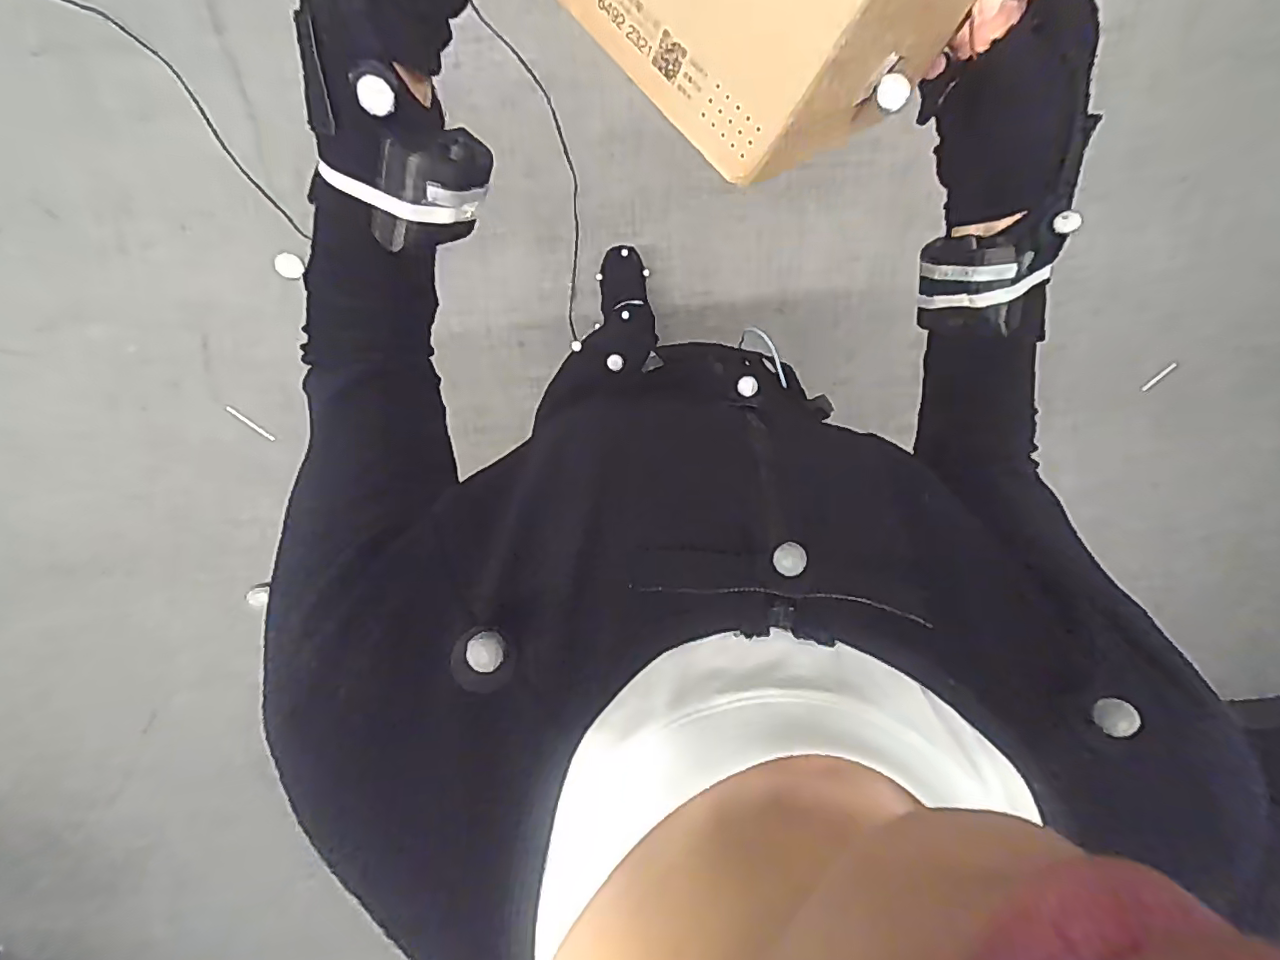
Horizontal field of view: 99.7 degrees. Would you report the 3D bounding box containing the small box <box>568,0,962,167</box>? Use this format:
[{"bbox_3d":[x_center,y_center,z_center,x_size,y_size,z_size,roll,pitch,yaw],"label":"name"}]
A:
[{"bbox_3d":[0.074,-0.280,0.236,0.168,0.176,0.179,48,58,3],"label":"small box"}]
